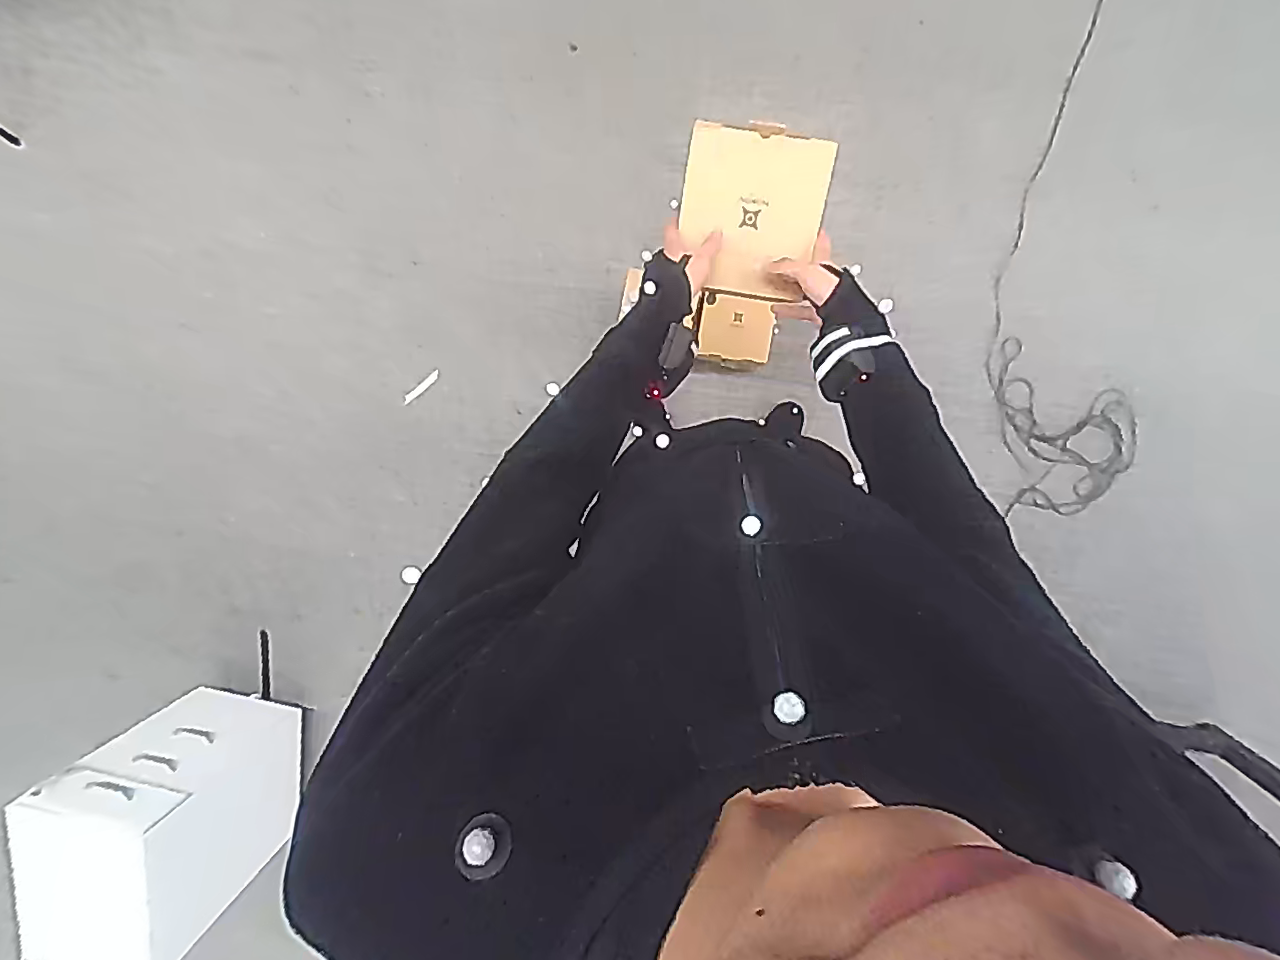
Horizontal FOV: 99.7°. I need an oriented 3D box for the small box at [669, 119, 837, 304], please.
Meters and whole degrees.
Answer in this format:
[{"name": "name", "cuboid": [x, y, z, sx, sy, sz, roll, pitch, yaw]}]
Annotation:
[{"name": "small box", "cuboid": [0.131, -0.333, 0.704, 0.168, 0.176, 0.179, 9, 108, -1]}]
